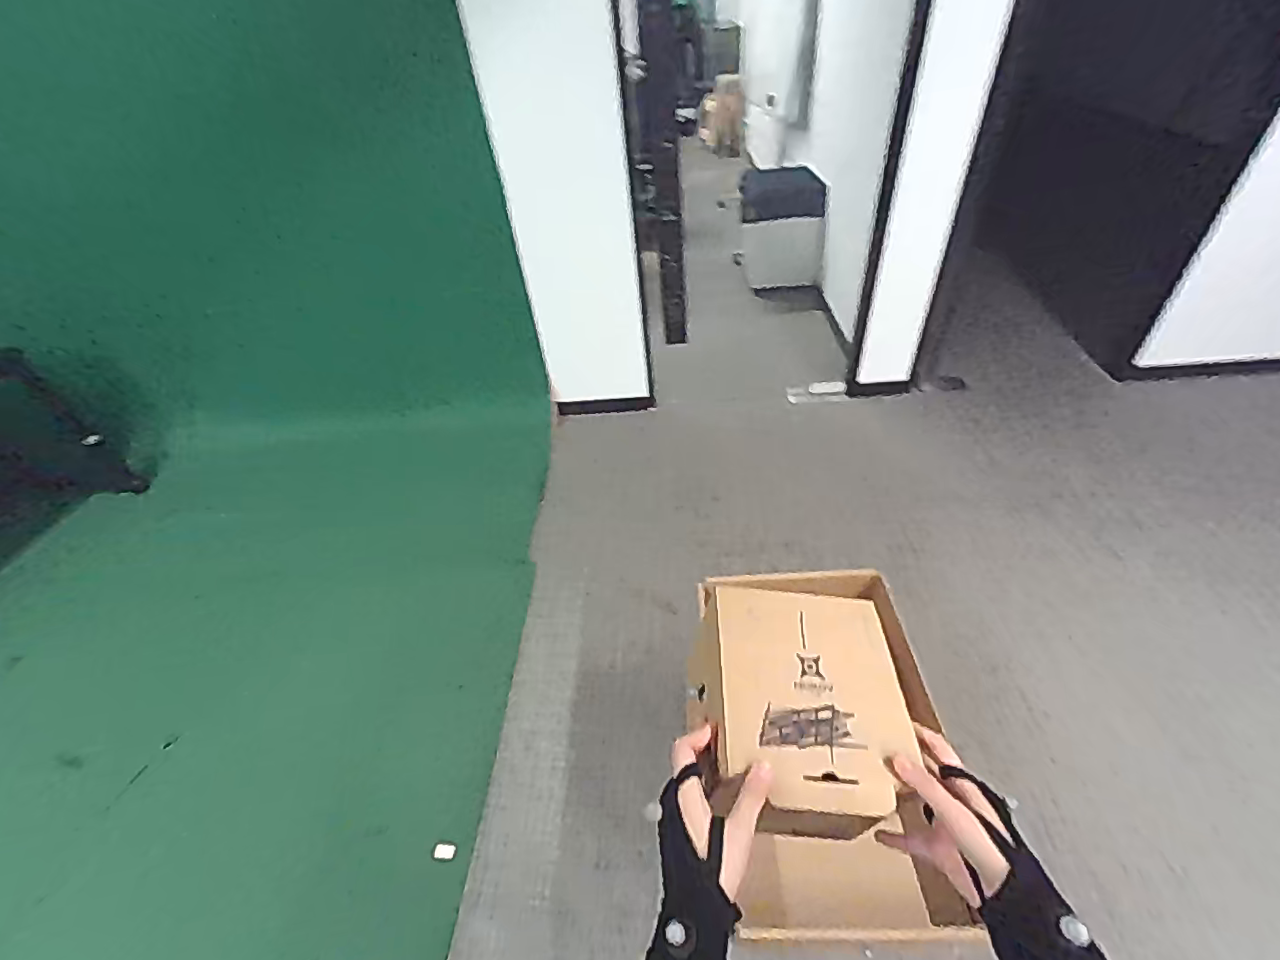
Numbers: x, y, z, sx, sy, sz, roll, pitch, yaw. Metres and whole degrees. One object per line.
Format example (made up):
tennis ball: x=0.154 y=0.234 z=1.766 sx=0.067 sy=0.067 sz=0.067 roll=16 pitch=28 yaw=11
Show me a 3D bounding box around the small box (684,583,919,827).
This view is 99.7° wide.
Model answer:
small box: x=0.138 y=0.228 z=0.542 sx=0.168 sy=0.176 sz=0.179 roll=6 pitch=44 yaw=-3
